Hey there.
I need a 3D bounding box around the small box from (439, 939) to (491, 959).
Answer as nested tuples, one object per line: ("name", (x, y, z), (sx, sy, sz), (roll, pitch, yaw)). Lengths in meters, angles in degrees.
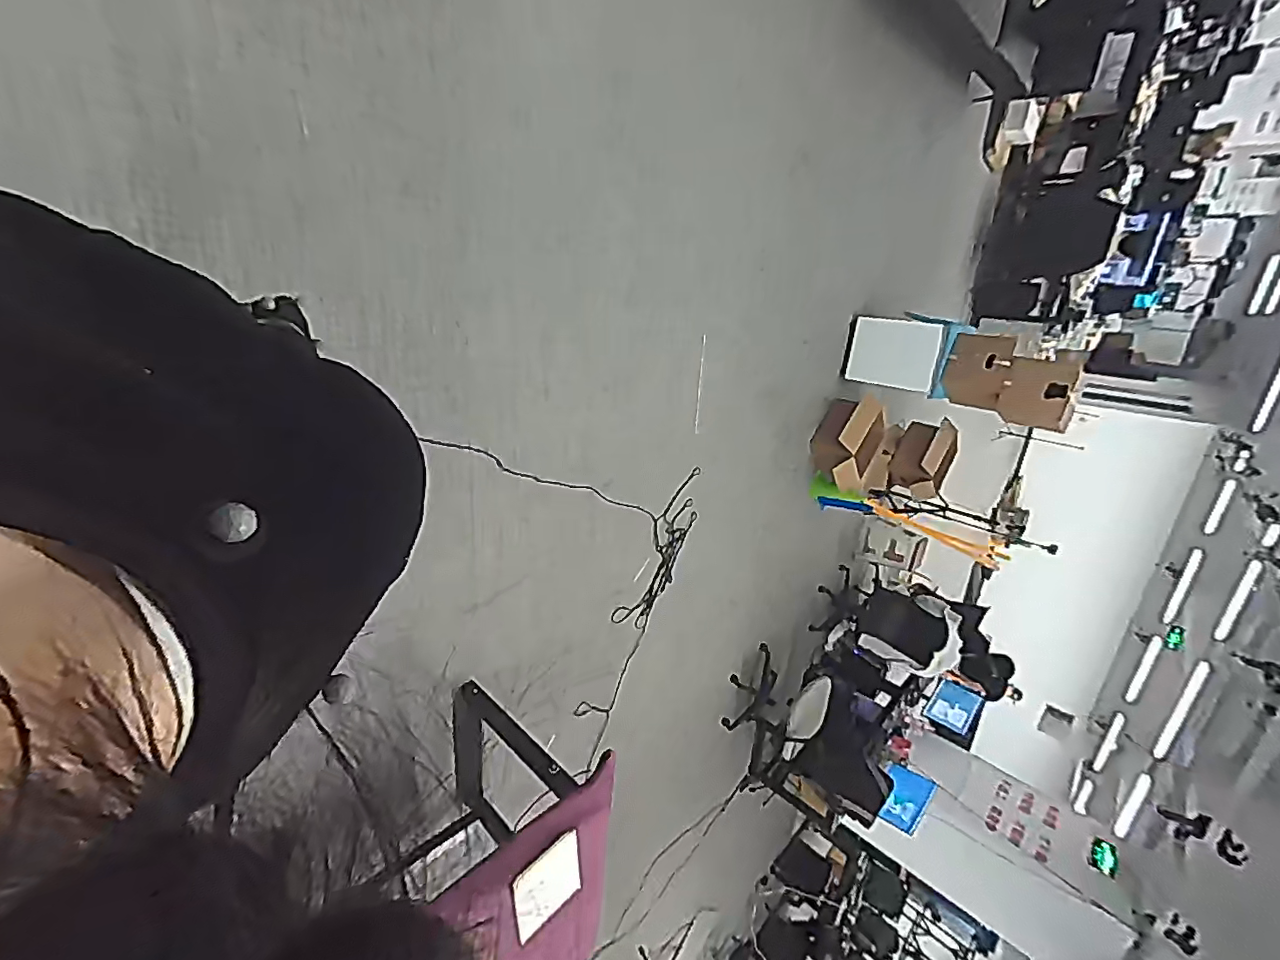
("small box", (-0.406, 1.188, 1.206), (0.168, 0.176, 0.179), (-14, 116, -45))
